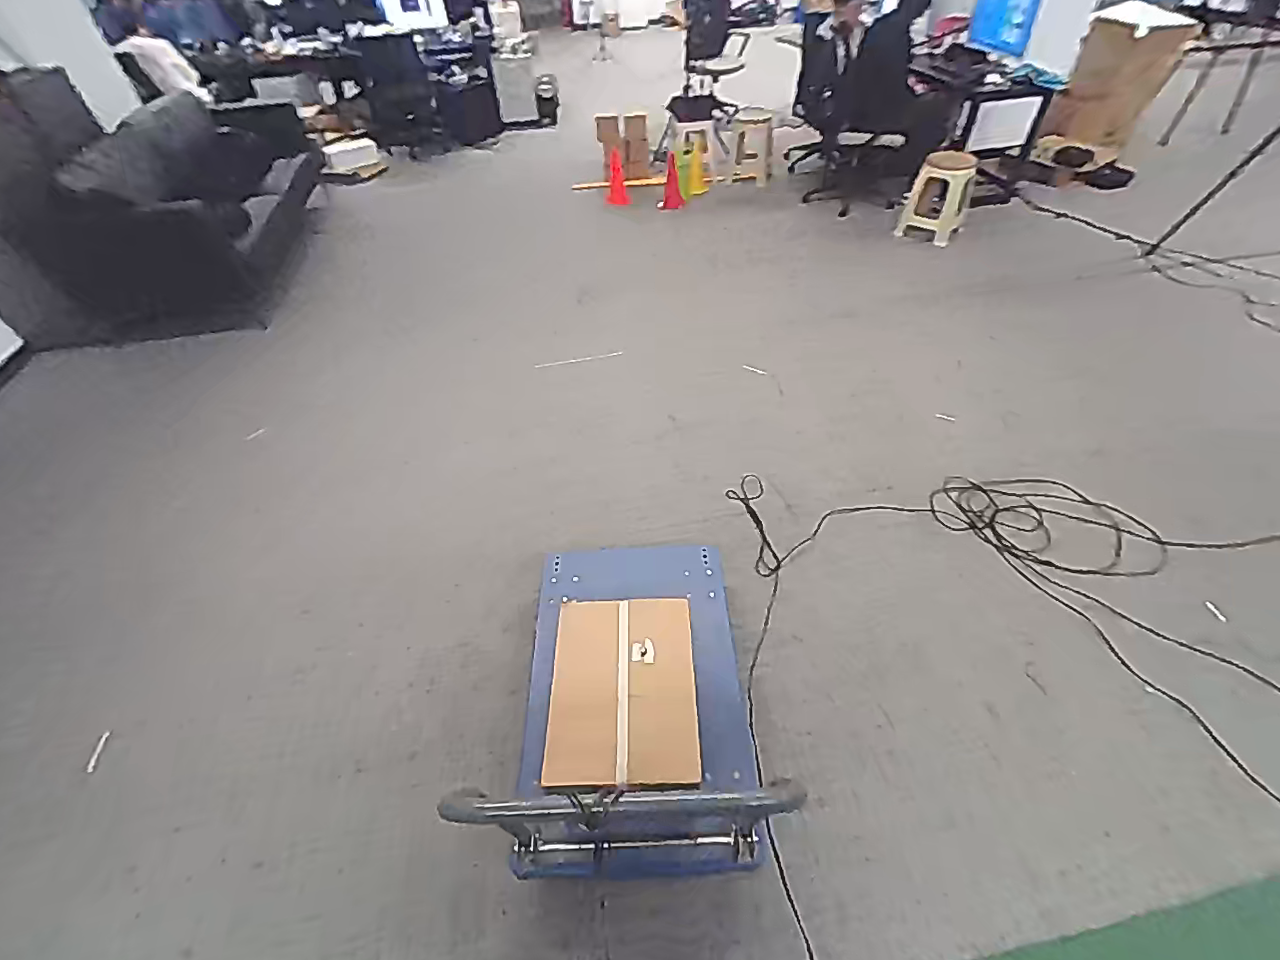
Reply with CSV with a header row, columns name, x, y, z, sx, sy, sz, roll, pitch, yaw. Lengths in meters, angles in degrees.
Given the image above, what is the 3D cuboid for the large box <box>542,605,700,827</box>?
name,x,y,z,sx,sy,sz,roll,pitch,yaw
large box,-0.035,0.556,1.288,0.320,0.320,0.408,-1,45,1
